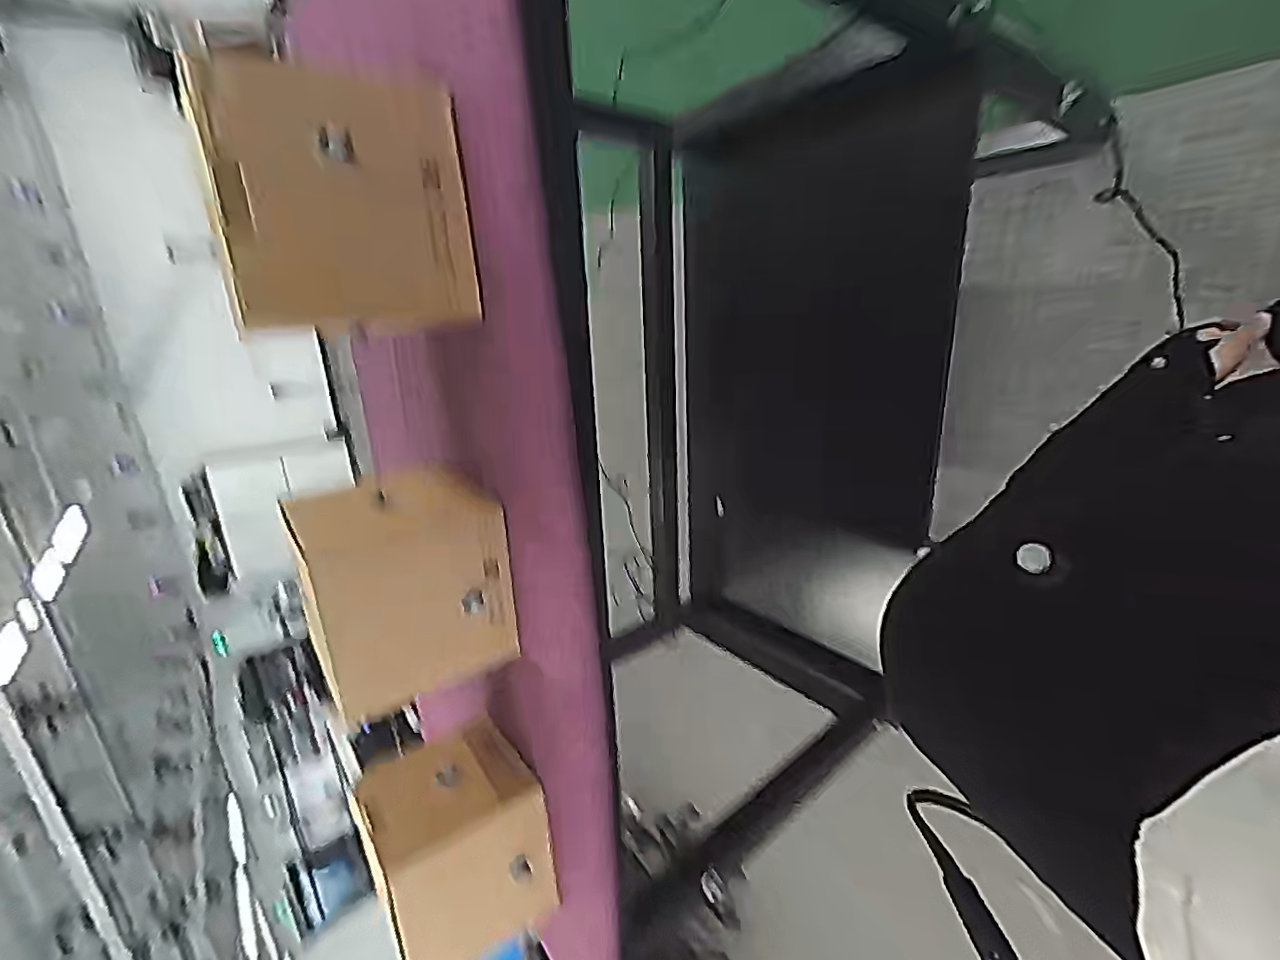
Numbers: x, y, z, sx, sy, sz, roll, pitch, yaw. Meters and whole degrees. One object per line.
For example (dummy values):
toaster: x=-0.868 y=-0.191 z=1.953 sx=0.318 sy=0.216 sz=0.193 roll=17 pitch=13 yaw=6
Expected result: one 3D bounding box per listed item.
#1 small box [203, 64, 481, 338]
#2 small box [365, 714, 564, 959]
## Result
small box: x=-0.246 y=-0.215 z=0.466 sx=0.179 sy=0.176 sz=0.168 roll=15 pitch=114 yaw=52
small box: x=-0.205 y=0.416 z=0.642 sx=0.168 sy=0.176 sz=0.179 roll=15 pitch=113 yaw=52
